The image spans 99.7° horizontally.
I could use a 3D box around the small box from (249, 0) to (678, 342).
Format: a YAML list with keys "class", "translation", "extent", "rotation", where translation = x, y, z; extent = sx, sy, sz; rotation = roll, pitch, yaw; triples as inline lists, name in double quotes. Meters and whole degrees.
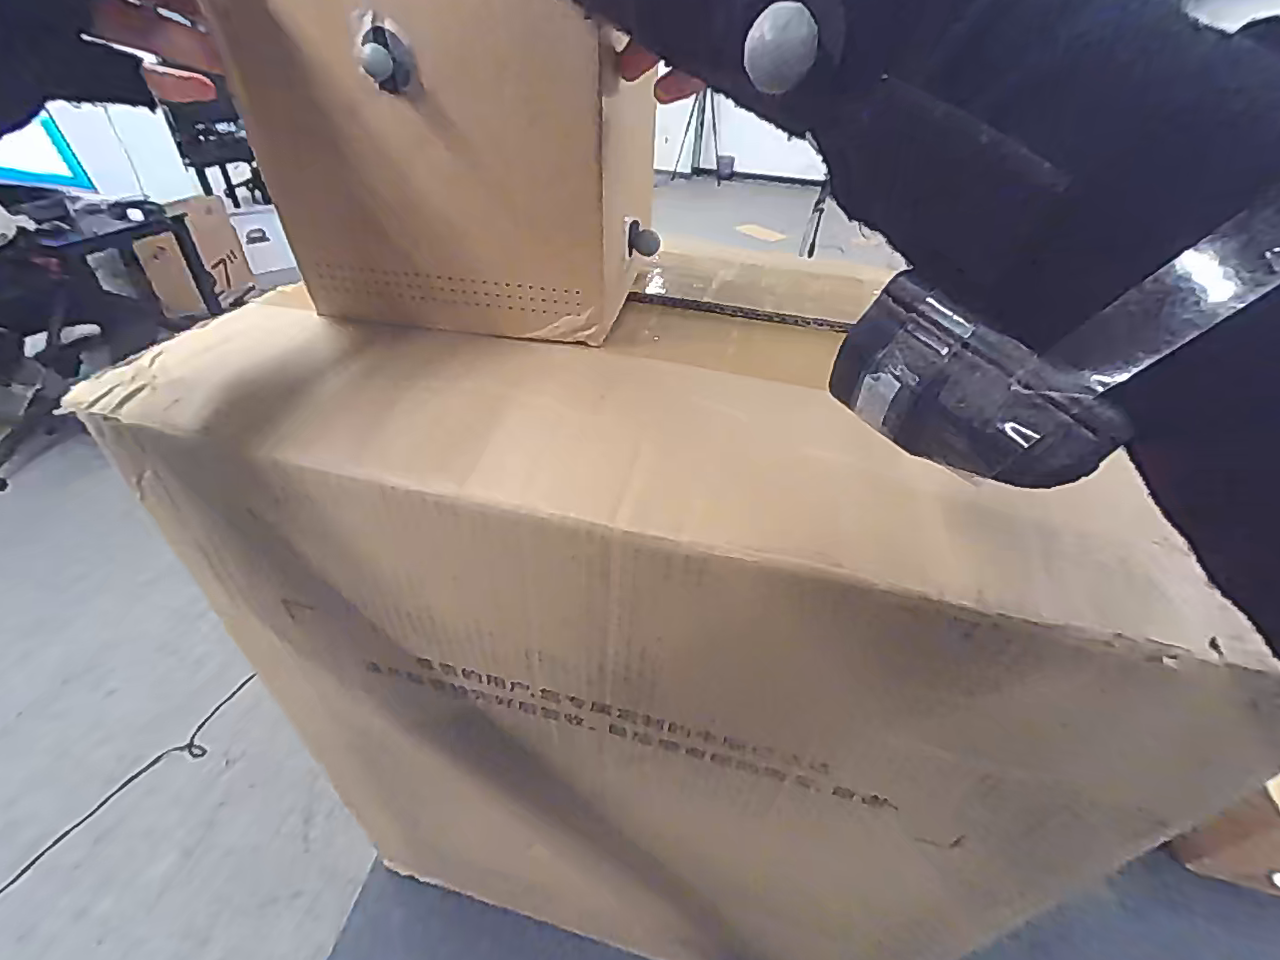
- class: "small box"
  translation: [-0.079, -0.199, 0.320]
  extent: [0.179, 0.176, 0.168]
  rotation: [9, 44, 5]
